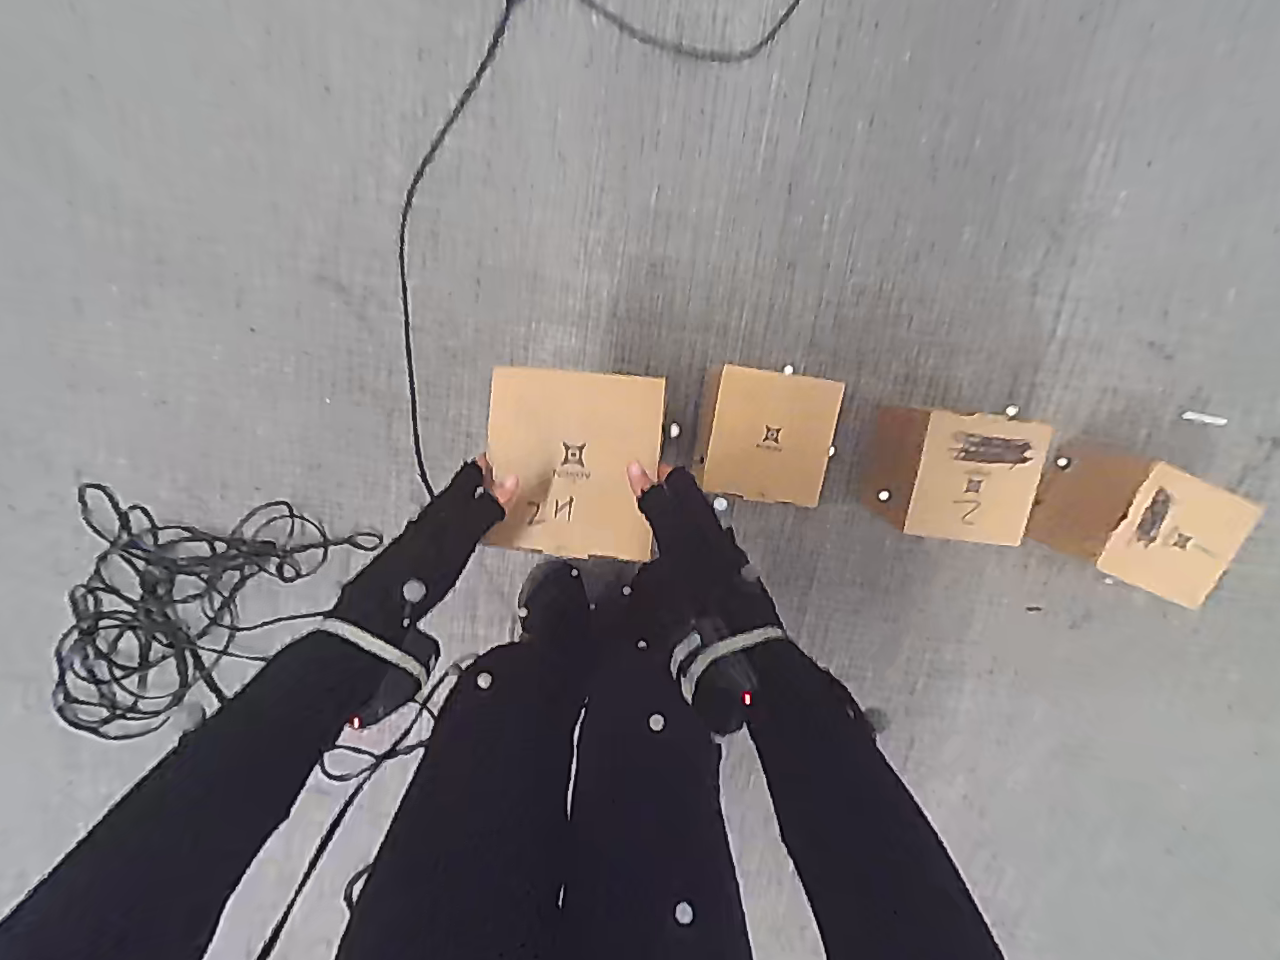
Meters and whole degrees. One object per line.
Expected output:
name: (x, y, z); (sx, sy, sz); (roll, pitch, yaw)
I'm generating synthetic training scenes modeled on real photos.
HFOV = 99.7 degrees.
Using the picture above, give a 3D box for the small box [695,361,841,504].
small box: (0.179, -0.078, 0.814); (0.168, 0.176, 0.179); (9, 101, 0)

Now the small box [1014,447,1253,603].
small box: (0.733, 0.057, 0.829); (0.179, 0.176, 0.168); (22, 101, -5)

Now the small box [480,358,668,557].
small box: (-0.059, -0.023, 0.585); (0.168, 0.176, 0.179); (5, 93, 3)
